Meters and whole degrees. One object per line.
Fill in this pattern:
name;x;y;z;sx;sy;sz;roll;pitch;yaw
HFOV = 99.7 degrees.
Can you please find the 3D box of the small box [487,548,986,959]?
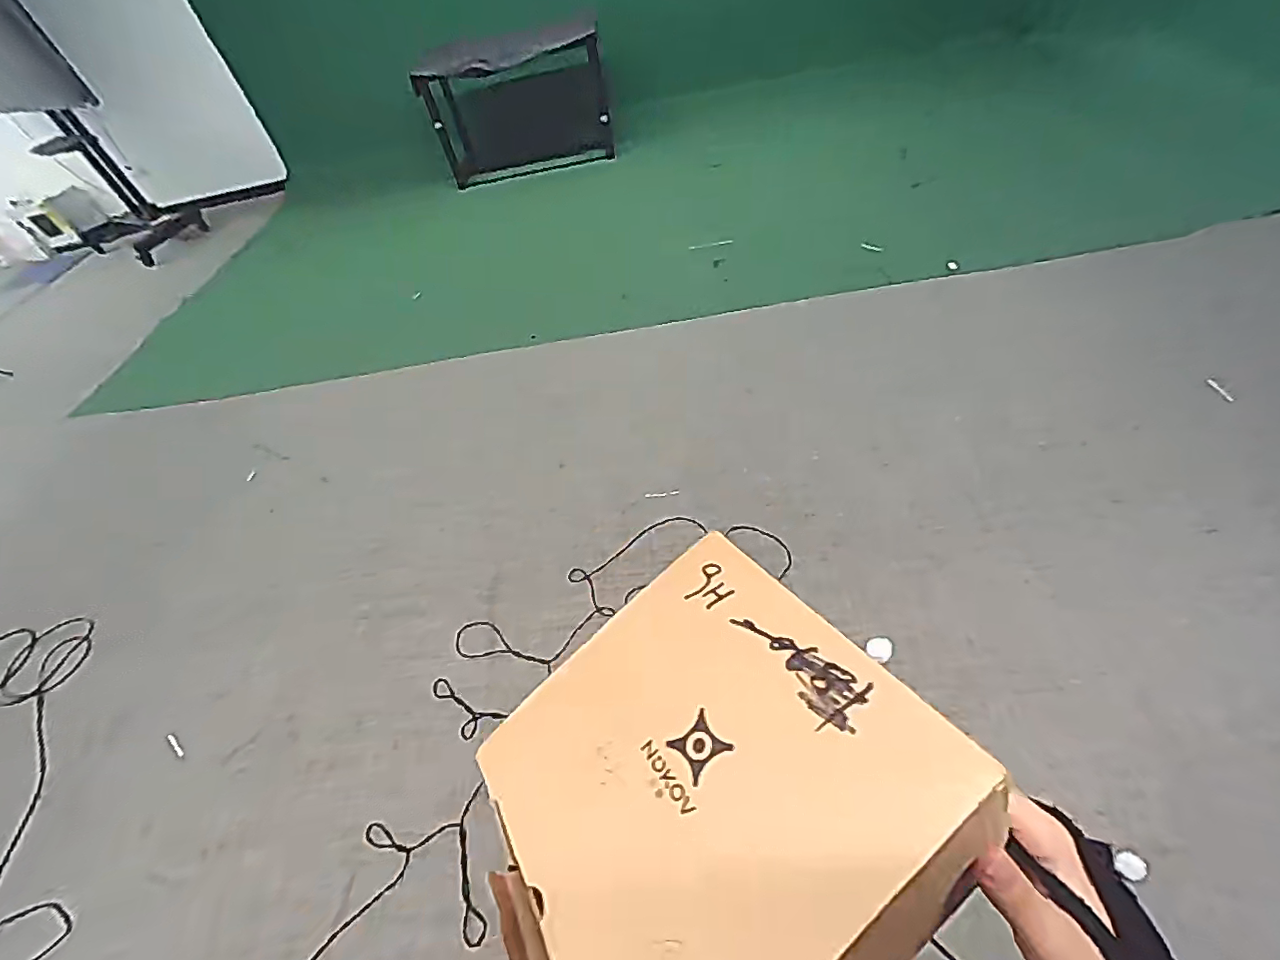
small box;0.057;0.178;0.291;0.179;0.176;0.168;-42;42;-7
